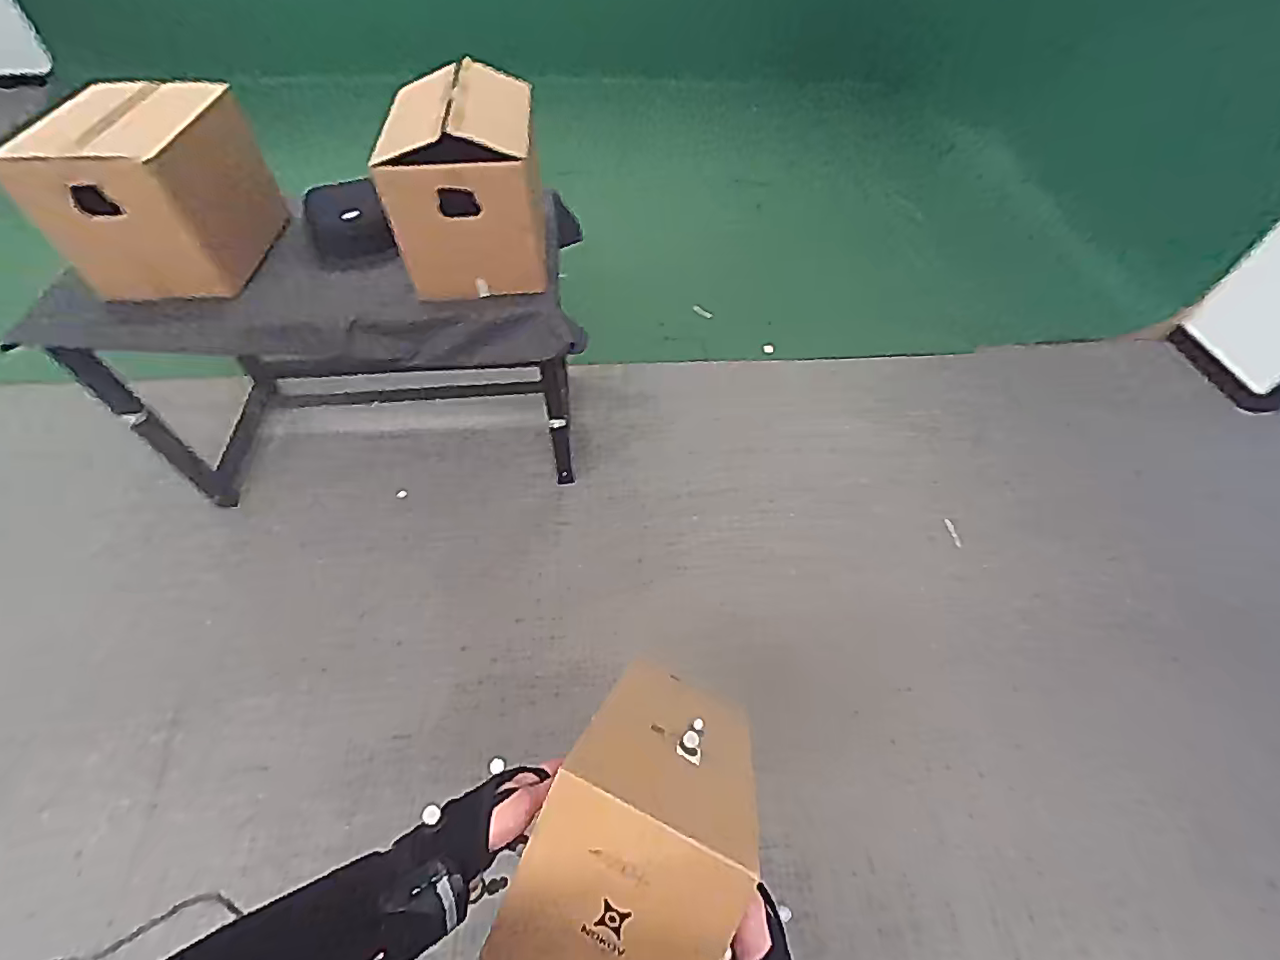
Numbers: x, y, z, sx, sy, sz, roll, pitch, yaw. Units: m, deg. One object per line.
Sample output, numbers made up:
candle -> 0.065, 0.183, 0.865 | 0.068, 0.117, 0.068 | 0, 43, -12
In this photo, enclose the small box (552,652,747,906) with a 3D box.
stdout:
small box -> 0.022, 0.340, 0.655 | 0.168, 0.176, 0.179 | 22, 92, 9
